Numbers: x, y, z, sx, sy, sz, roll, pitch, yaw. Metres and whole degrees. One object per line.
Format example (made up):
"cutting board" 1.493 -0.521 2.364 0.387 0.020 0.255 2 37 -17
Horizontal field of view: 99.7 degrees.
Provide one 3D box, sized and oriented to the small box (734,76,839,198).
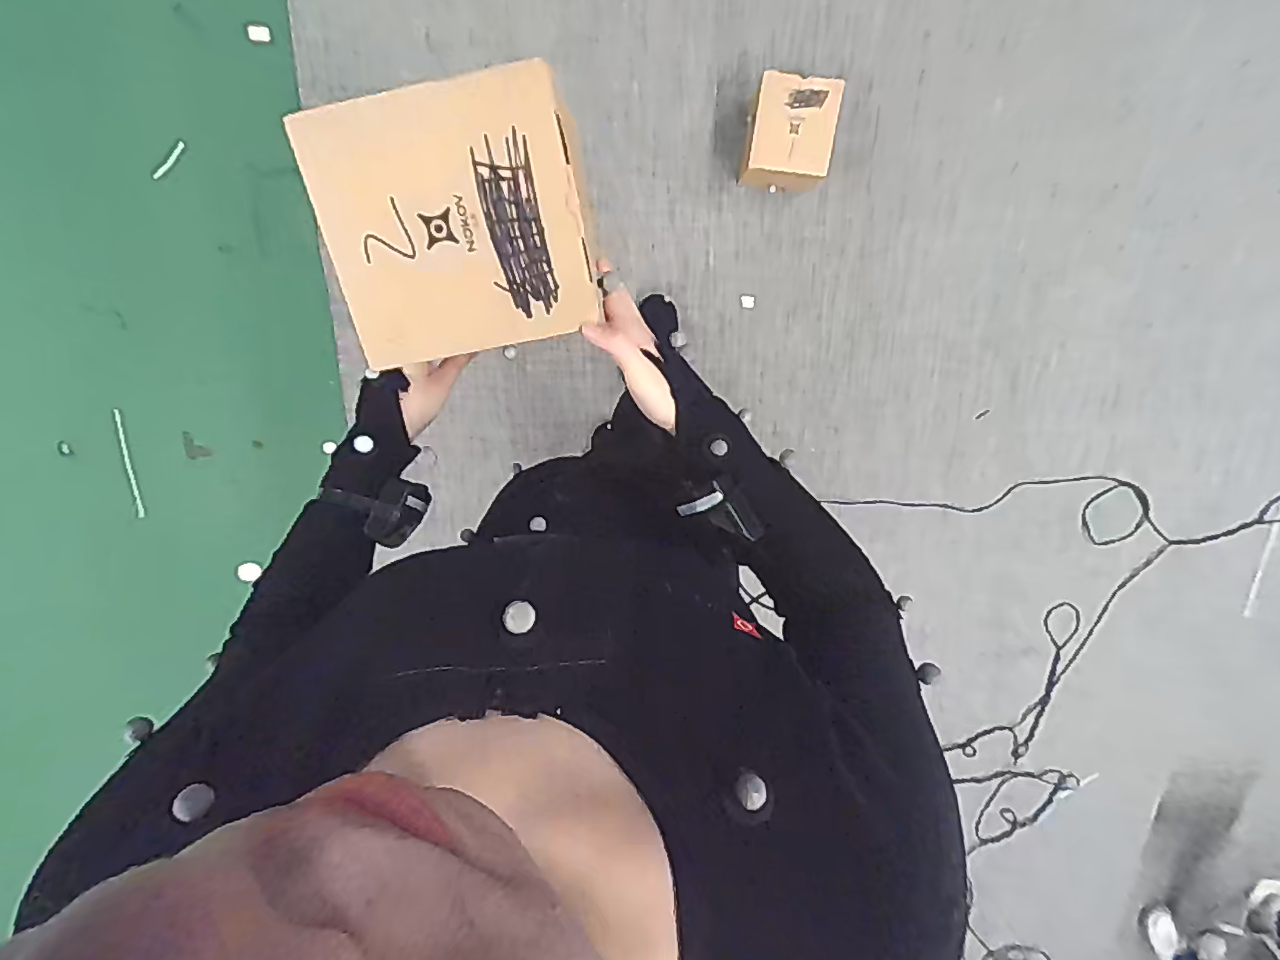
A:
"small box" 0.307 -0.734 1.174 0.168 0.176 0.179 7 108 -1
